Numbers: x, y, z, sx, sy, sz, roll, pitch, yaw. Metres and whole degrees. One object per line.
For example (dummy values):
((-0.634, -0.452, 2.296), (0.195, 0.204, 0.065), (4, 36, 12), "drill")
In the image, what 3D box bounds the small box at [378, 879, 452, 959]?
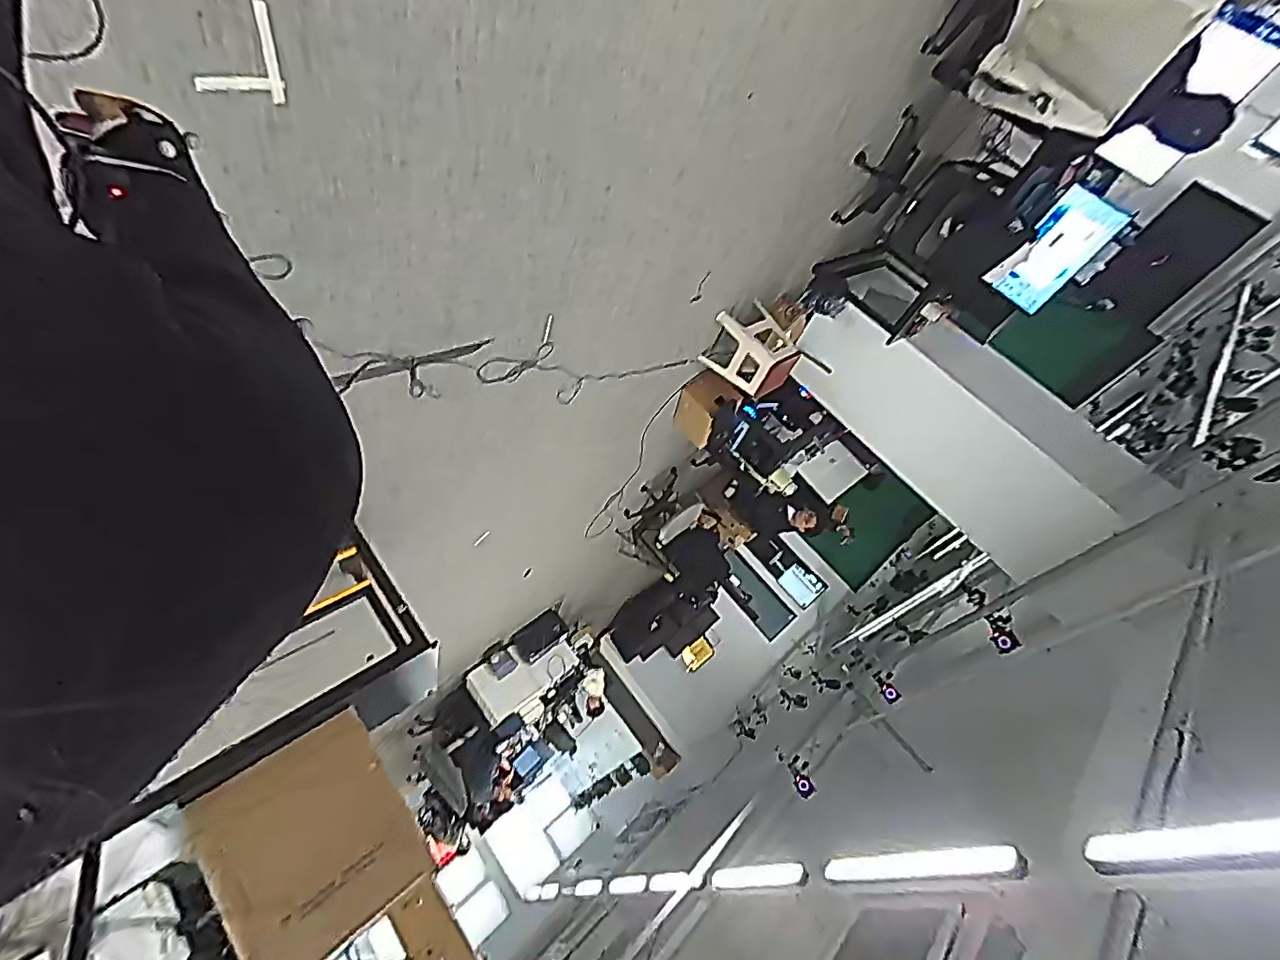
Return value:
((-0.753, 1.478, 1.814), (0.168, 0.176, 0.179), (-31, 157, -31), "small box")

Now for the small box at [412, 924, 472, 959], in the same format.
((-0.646, 1.592, 1.762), (0.168, 0.176, 0.179), (-30, 158, -34), "small box")
